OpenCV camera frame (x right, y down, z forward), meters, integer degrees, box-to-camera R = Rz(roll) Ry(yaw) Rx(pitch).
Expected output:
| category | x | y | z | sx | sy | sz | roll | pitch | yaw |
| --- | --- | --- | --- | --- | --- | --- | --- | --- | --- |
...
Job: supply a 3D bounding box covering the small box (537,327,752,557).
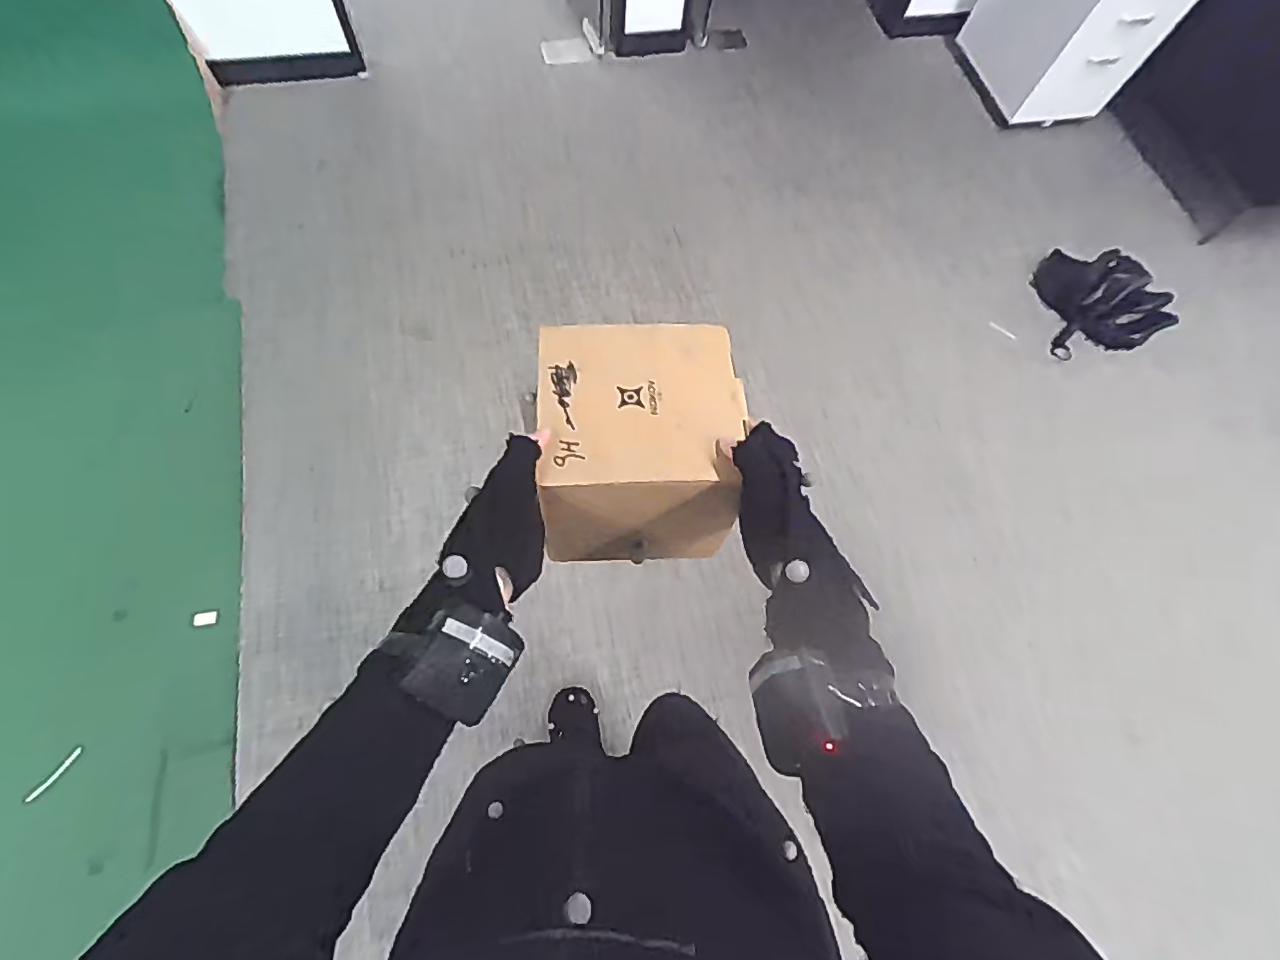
| category | x | y | z | sx | sy | sz | roll | pitch | yaw |
| --- | --- | --- | --- | --- | --- | --- | --- | --- | --- |
| small box | -0.005 | -0.029 | 0.535 | 0.179 | 0.176 | 0.168 | -1 | 61 | -5 |
